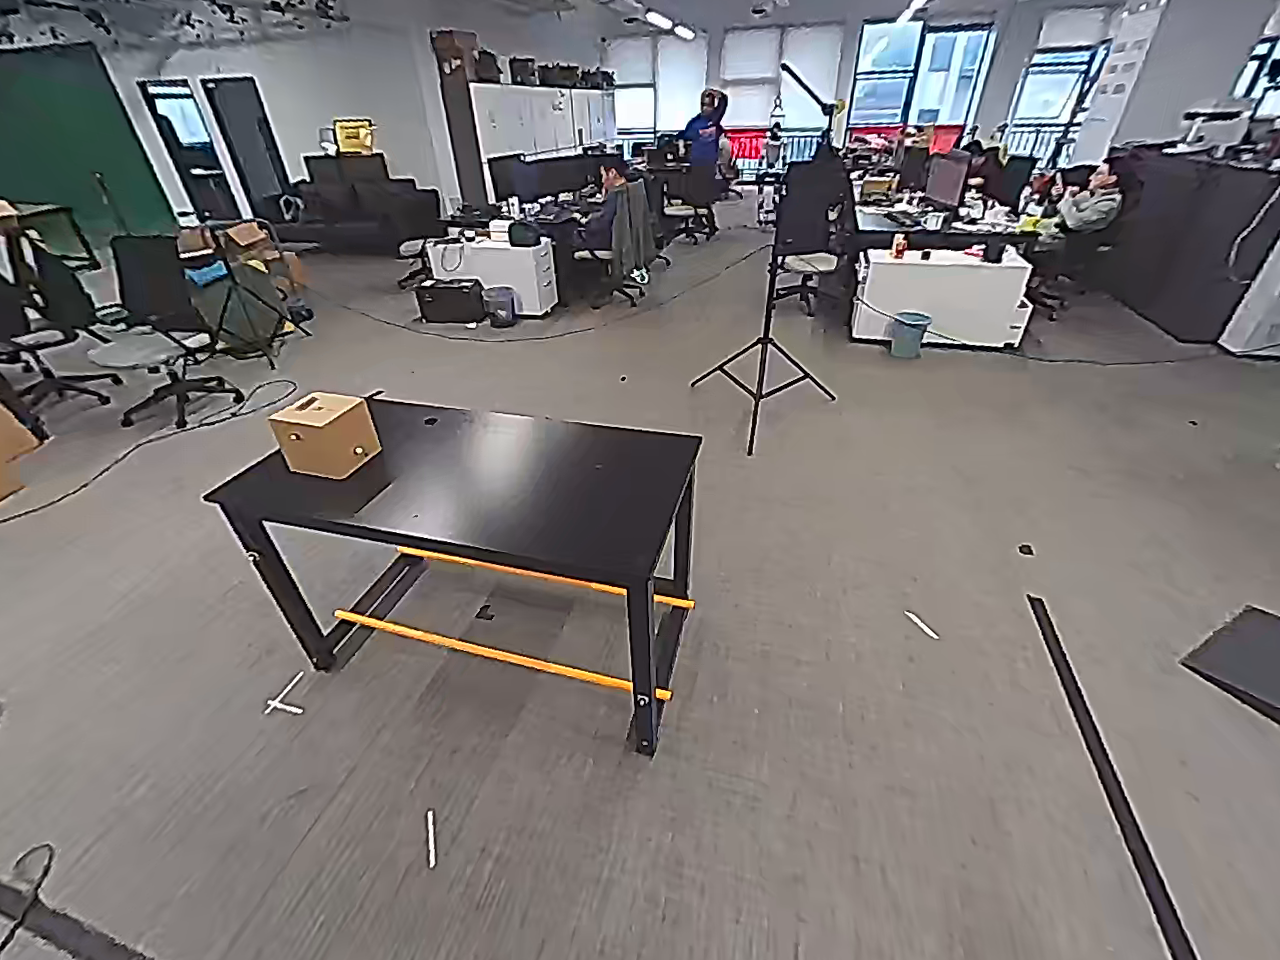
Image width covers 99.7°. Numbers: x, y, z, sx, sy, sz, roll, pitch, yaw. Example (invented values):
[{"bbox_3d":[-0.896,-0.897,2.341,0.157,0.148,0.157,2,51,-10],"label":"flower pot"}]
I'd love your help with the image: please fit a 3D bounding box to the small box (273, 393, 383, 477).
[{"bbox_3d":[-0.854,-0.125,1.497,0.179,0.176,0.168,9,36,14],"label":"small box"}]
